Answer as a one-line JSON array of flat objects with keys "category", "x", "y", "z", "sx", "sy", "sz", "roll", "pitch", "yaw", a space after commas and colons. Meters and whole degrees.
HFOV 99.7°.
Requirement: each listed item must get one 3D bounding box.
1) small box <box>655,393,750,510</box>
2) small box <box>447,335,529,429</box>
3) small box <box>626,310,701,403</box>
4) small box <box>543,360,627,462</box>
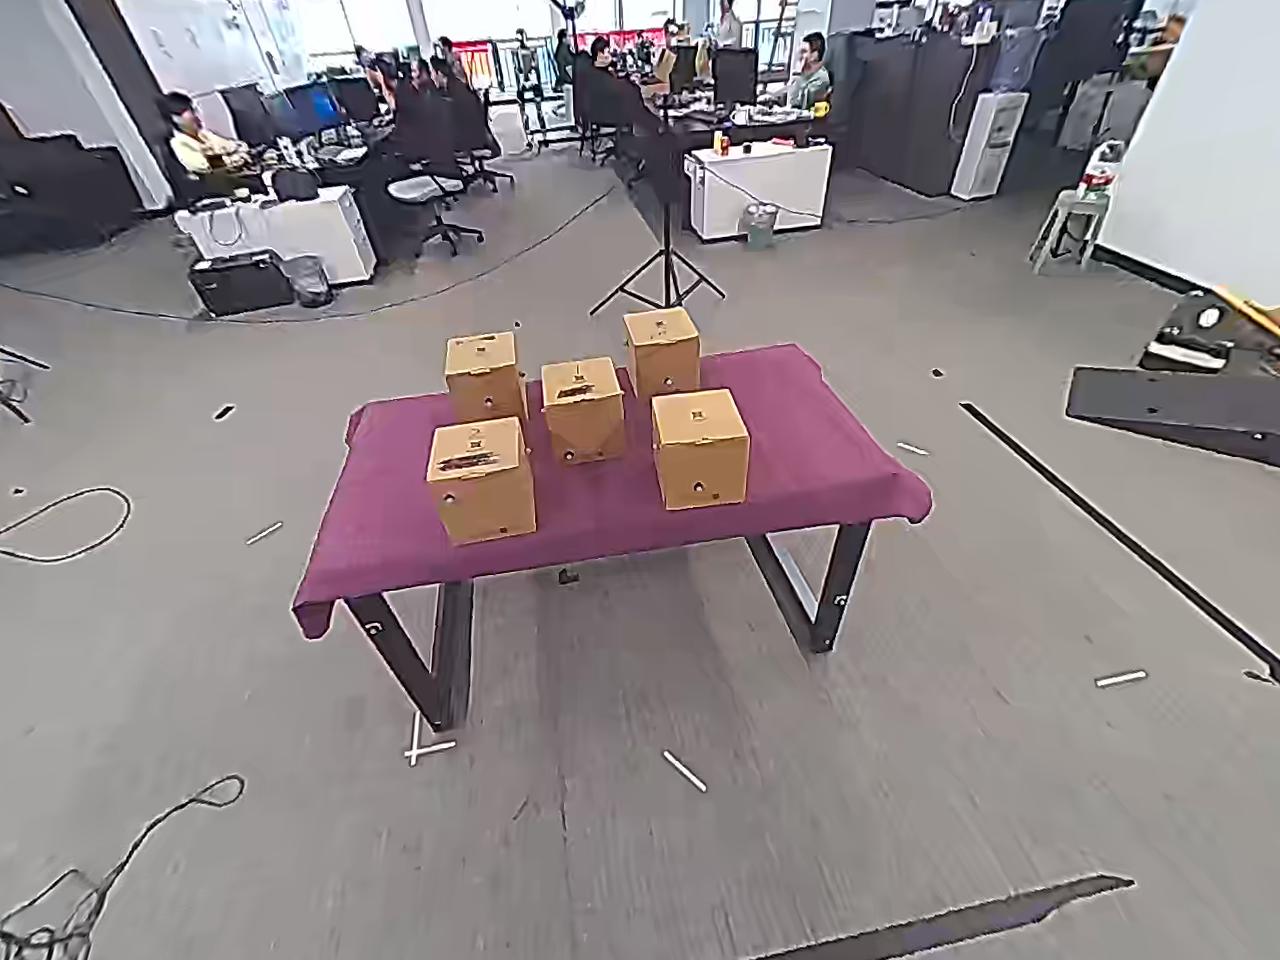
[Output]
[{"category": "small box", "x": 0.122, "y": -0.060, "z": 1.121, "sx": 0.168, "sy": 0.176, "sz": 0.179, "roll": -7, "pitch": 40, "yaw": -2}, {"category": "small box", "x": -0.378, "y": -0.242, "z": 1.371, "sx": 0.168, "sy": 0.176, "sz": 0.179, "roll": -9, "pitch": 44, "yaw": -7}, {"category": "small box", "x": 0.059, "y": -0.325, "z": 1.427, "sx": 0.168, "sy": 0.176, "sz": 0.179, "roll": -10, "pitch": 43, "yaw": -5}, {"category": "small box", "x": -0.126, "y": -0.154, "z": 1.251, "sx": 0.168, "sy": 0.176, "sz": 0.179, "roll": -9, "pitch": 41, "yaw": -5}]
